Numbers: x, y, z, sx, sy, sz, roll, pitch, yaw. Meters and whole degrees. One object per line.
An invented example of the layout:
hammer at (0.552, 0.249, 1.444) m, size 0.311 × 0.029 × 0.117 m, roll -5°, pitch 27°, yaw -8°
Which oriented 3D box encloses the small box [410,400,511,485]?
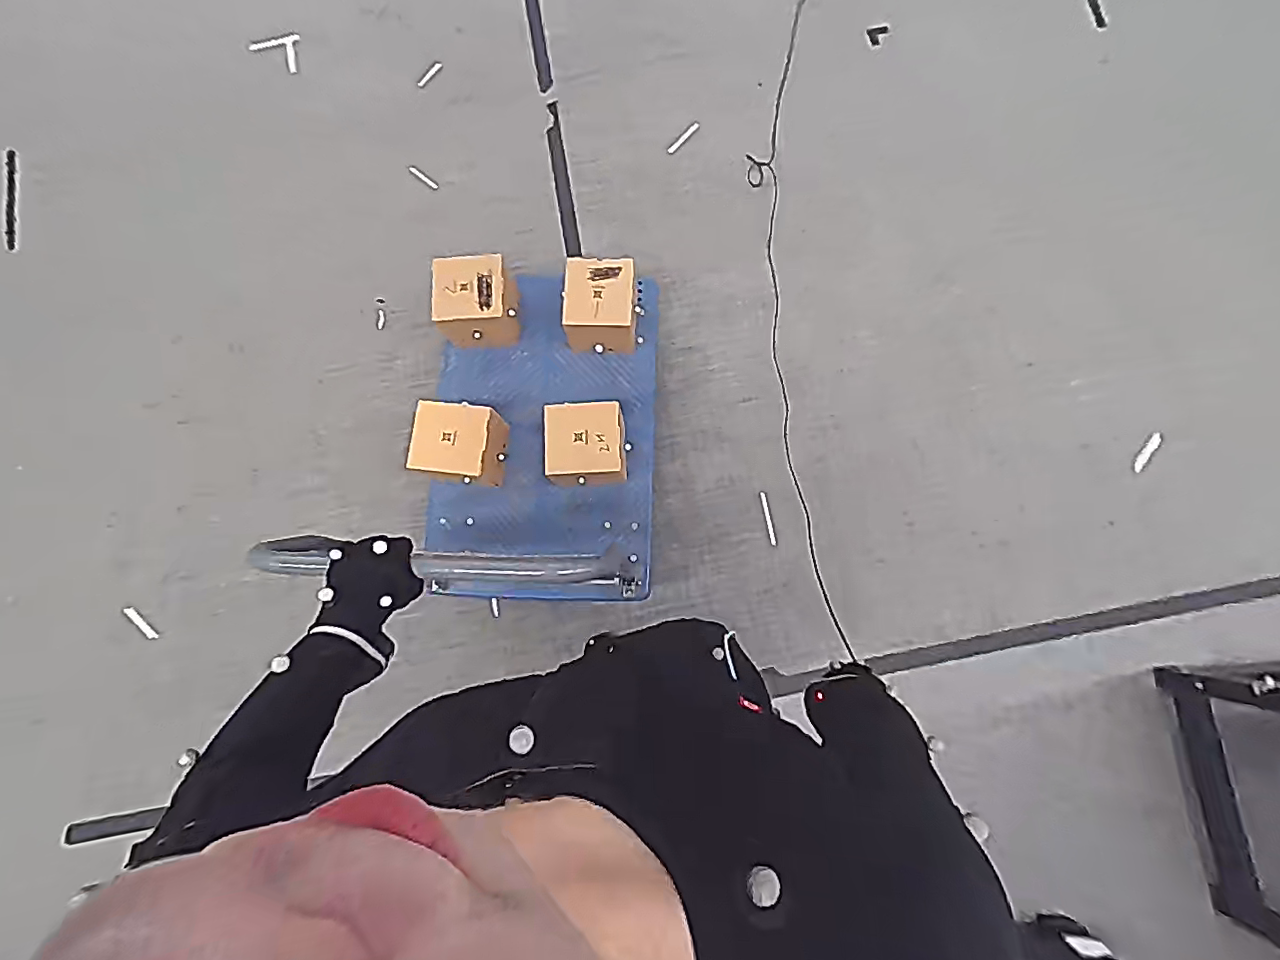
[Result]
small box at (-0.432, -0.085, 1.325) m, size 0.179 × 0.176 × 0.168 m, roll 5°, pitch 80°, yaw 2°

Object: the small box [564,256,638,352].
small box at (-0.092, -0.441, 1.369) m, size 0.168 × 0.176 × 0.179 m, roll 2°, pitch 82°, yaw 3°

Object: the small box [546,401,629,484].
small box at (-0.123, -0.085, 1.310) m, size 0.179 × 0.176 × 0.168 m, roll -3°, pitch 80°, yaw 2°
